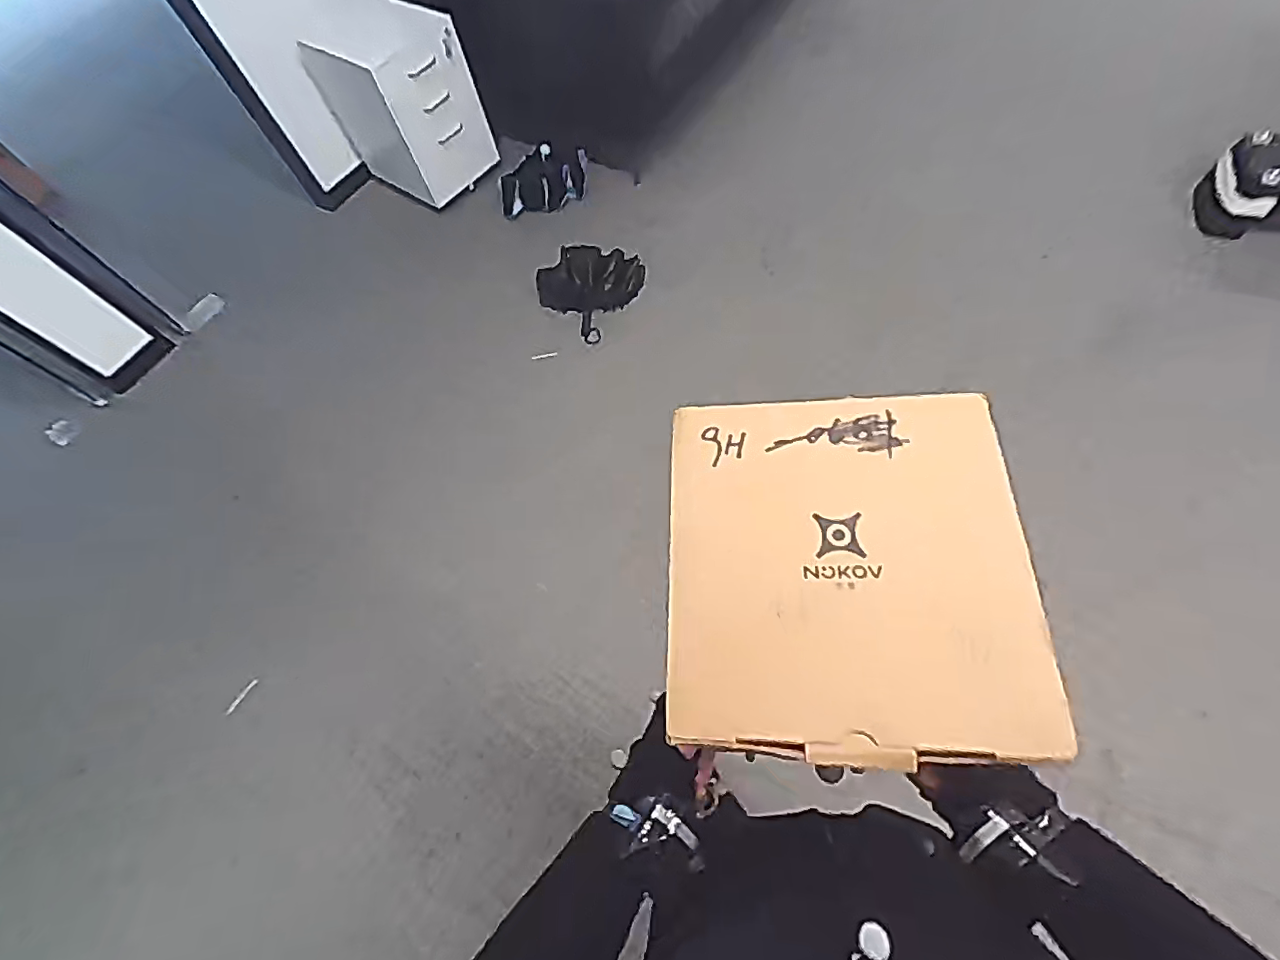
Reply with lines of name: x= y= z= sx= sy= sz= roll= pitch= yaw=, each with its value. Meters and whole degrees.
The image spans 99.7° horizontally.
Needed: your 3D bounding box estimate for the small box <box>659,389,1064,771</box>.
small box: x=0.108 y=0.065 z=0.331 sx=0.168 sy=0.176 sz=0.179 roll=-1 pitch=67 yaw=10
